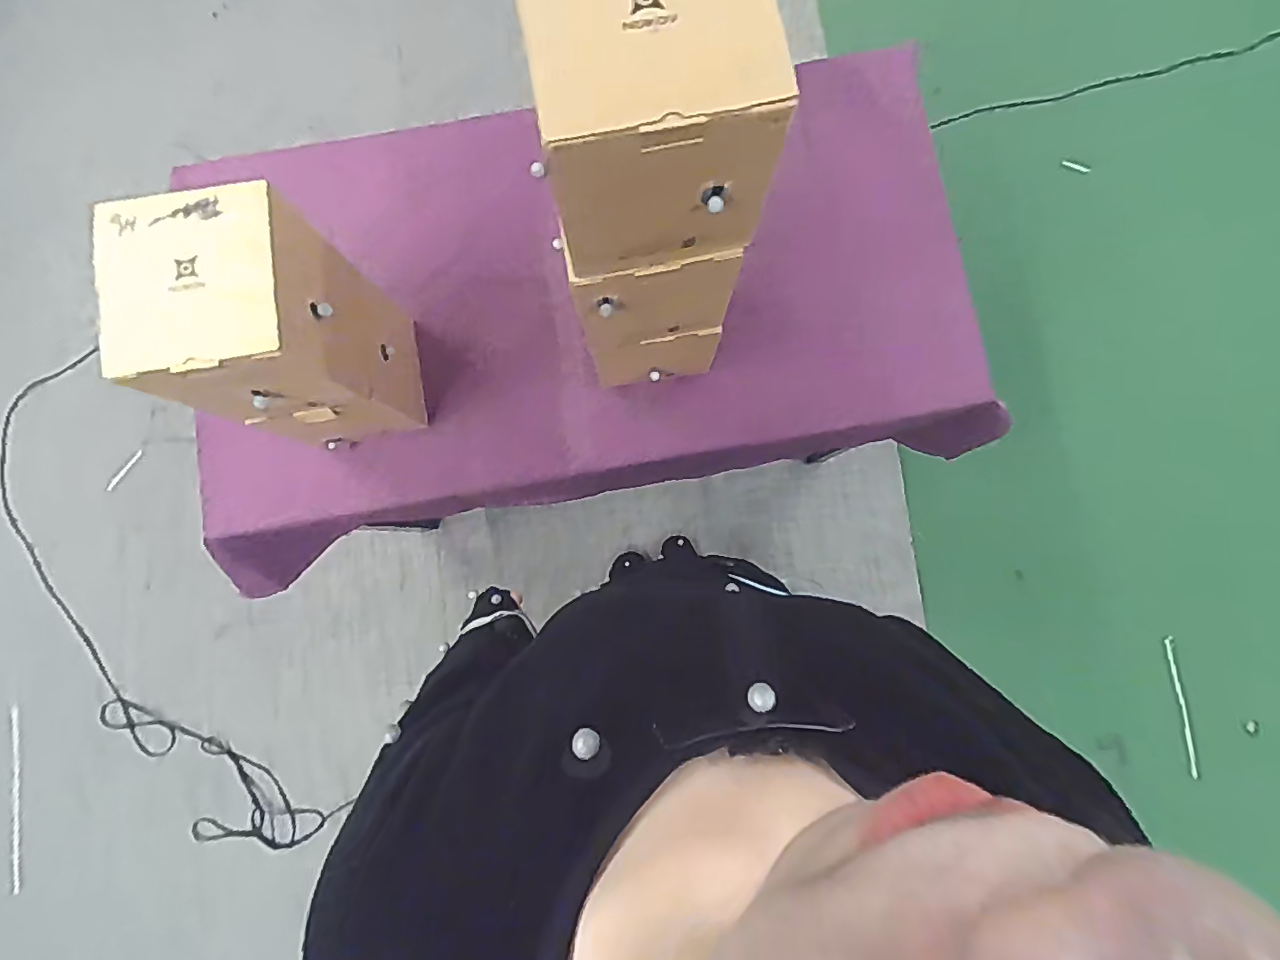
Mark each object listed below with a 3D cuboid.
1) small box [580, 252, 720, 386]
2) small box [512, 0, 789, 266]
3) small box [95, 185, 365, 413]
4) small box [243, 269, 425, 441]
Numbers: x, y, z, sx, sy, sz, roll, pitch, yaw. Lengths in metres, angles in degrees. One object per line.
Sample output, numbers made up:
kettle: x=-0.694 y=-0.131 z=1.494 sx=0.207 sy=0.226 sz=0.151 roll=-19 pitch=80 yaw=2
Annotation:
small box: x=0.009 y=-0.247 z=0.753 sx=0.168 sy=0.176 sz=0.179 roll=-8 pitch=84 yaw=0
small box: x=0.002 y=-0.291 z=0.429 sx=0.168 sy=0.176 sz=0.179 roll=-10 pitch=83 yaw=-1
small box: x=-0.421 y=-0.177 z=0.584 sx=0.168 sy=0.176 sz=0.179 roll=-9 pitch=84 yaw=-1
small box: x=-0.416 y=-0.158 z=0.748 sx=0.168 sy=0.176 sz=0.179 roll=-11 pitch=83 yaw=-1
